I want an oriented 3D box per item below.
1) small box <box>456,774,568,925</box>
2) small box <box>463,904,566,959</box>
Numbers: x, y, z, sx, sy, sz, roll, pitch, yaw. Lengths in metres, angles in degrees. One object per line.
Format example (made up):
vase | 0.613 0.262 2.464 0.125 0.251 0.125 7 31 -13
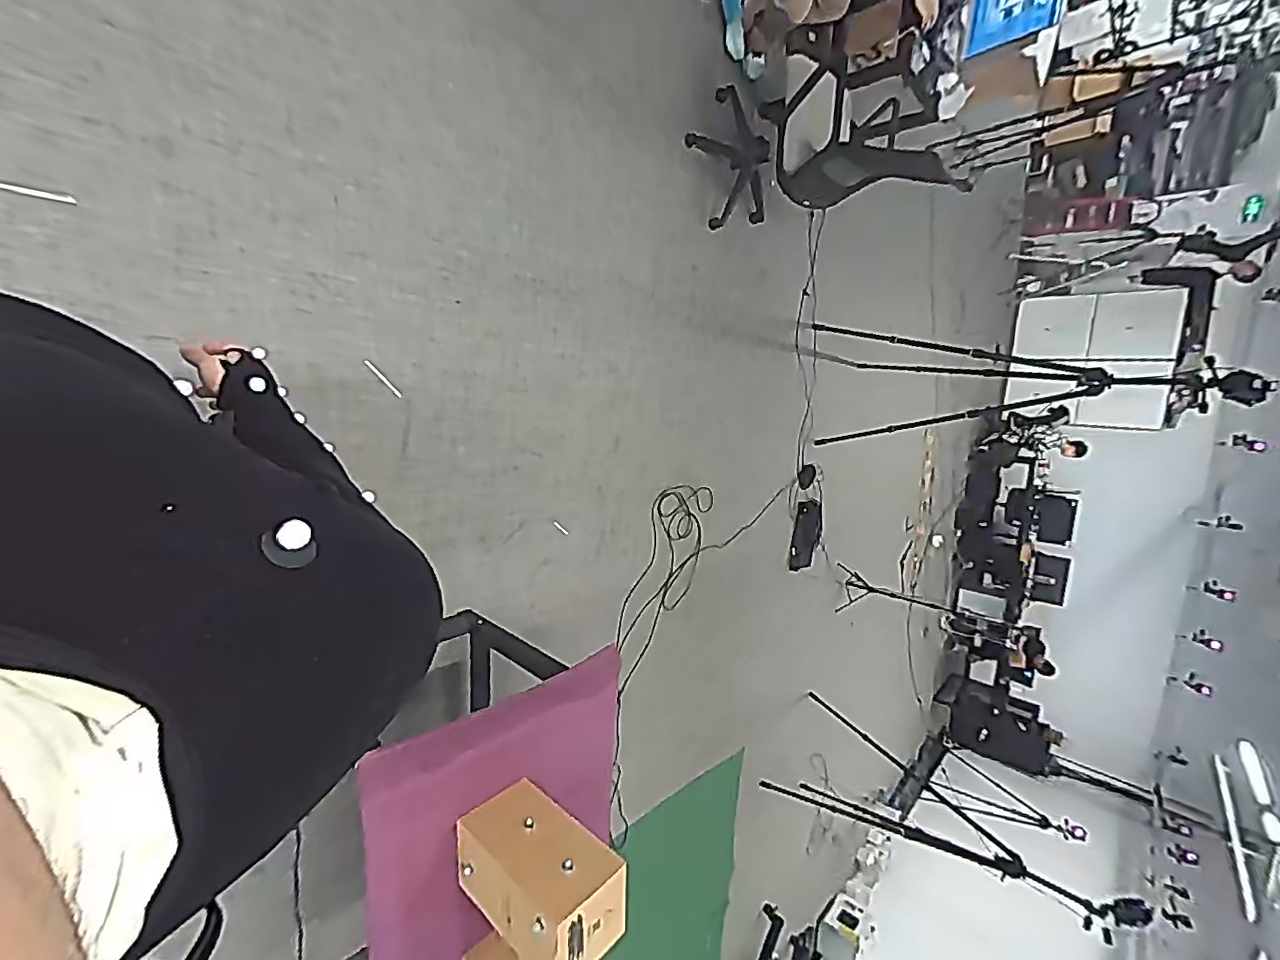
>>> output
small box | -0.275 0.780 1.166 0.179 0.176 0.168 -10 105 -46
small box | -0.289 1.120 1.228 0.179 0.176 0.168 -8 105 -47
